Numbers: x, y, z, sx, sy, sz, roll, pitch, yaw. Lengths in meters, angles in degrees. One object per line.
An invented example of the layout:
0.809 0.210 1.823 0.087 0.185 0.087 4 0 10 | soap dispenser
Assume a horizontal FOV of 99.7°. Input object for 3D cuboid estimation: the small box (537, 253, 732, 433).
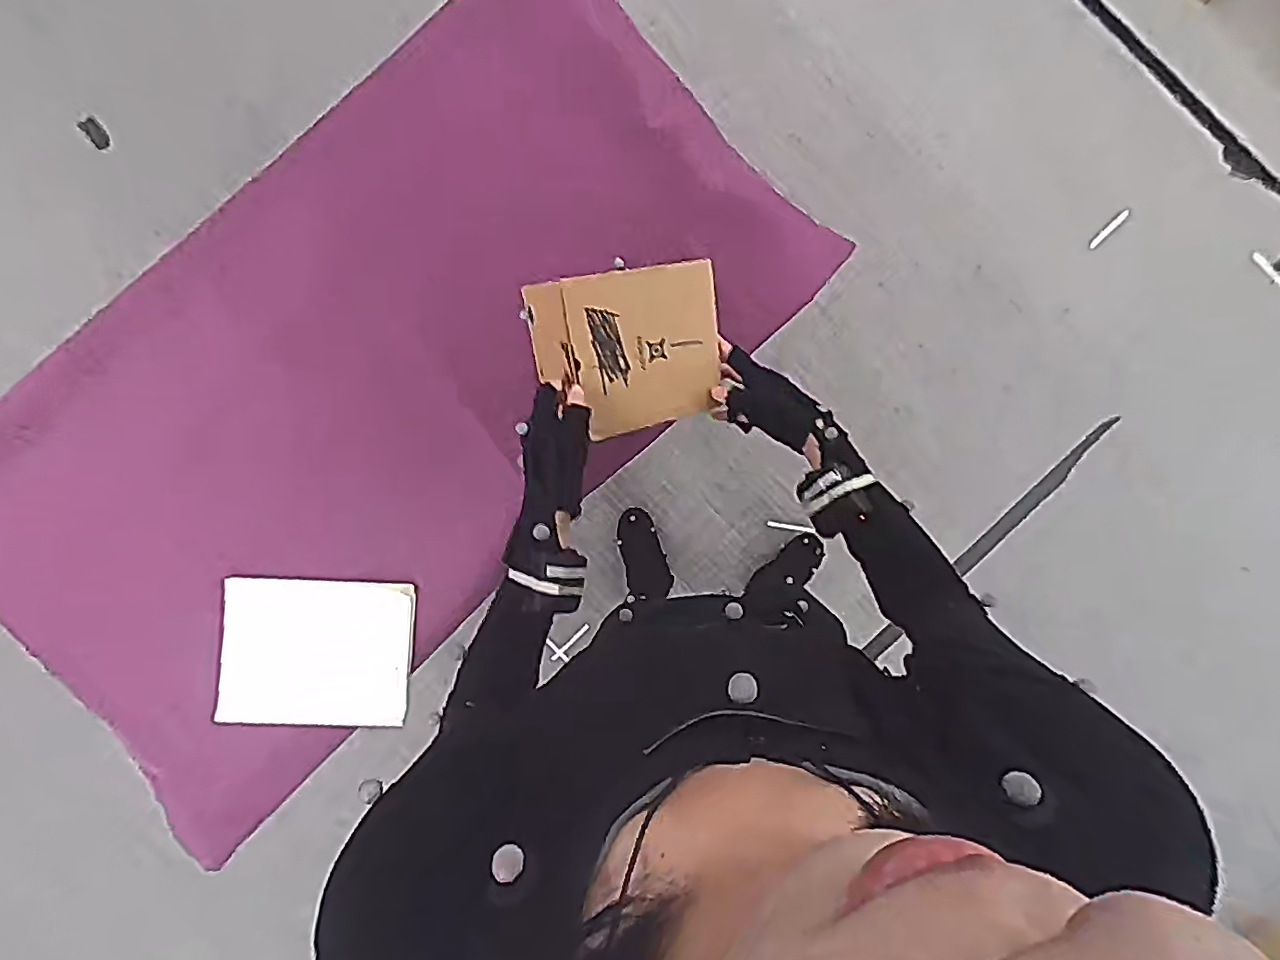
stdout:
-0.015 -0.164 0.638 0.179 0.176 0.168 -16 111 -21 | small box
